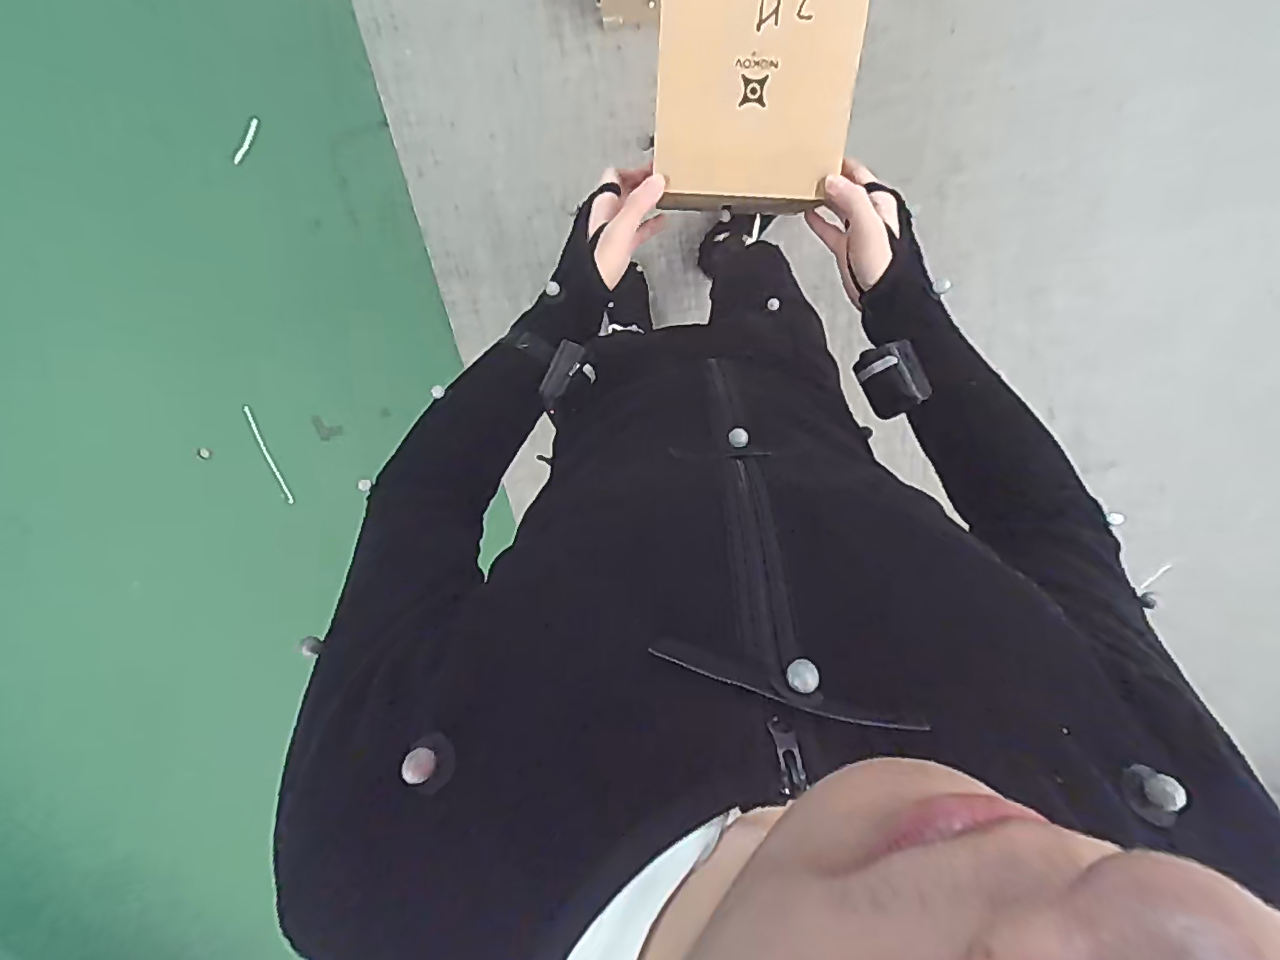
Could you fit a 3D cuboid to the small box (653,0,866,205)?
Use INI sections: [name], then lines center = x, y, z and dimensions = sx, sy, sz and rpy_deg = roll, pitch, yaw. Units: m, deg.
[small box]
center = 0.101, -0.374, 0.528
dimensions = 0.168, 0.176, 0.179
rpy_deg = 3, 112, 1
